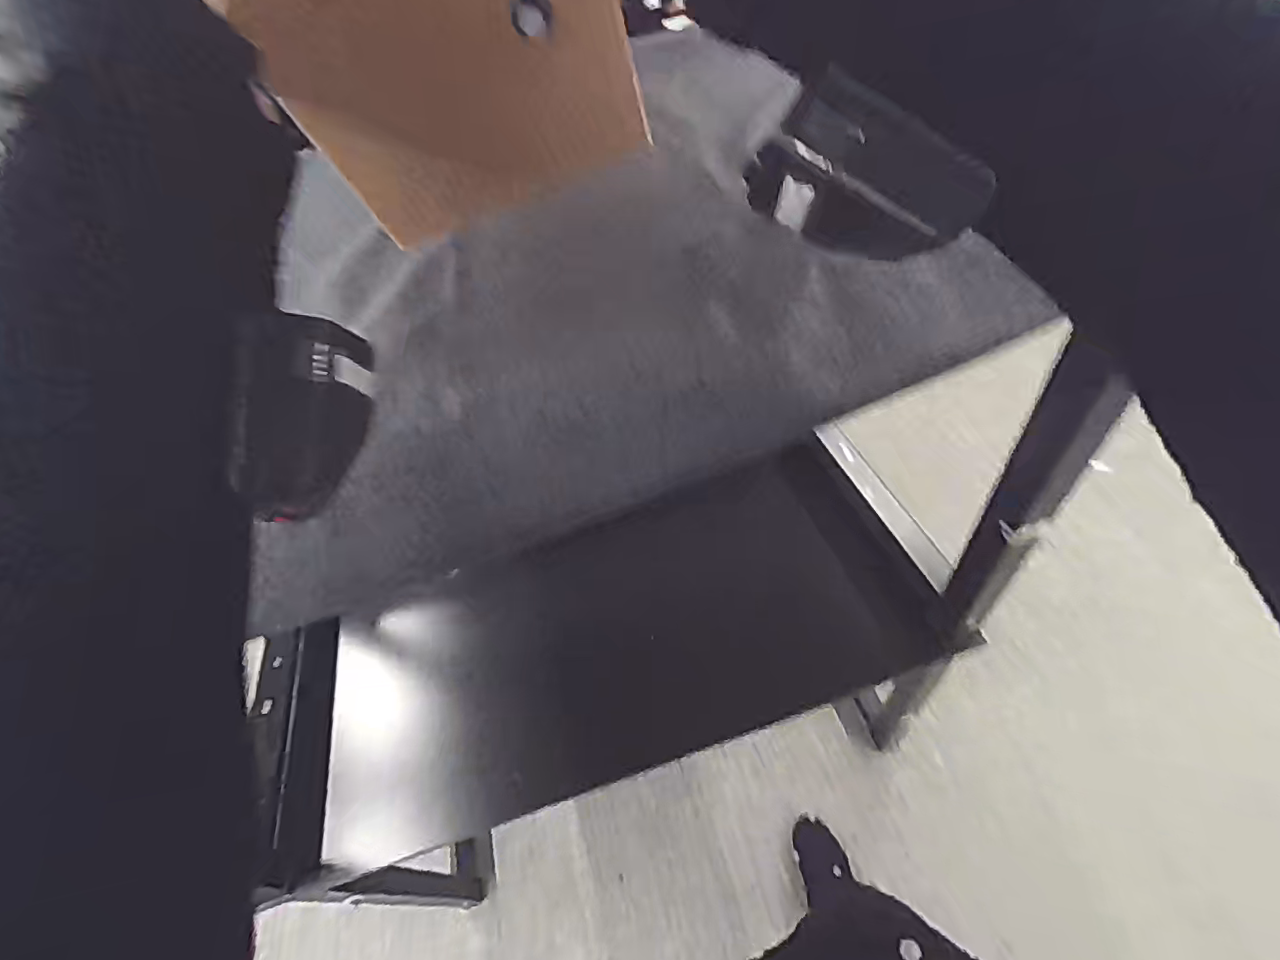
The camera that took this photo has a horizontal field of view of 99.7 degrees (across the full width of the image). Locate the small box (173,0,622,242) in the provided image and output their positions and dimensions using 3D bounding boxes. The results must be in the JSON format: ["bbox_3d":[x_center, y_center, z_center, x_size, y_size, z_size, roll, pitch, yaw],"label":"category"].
[{"bbox_3d":[-0.119,-0.273,0.296,0.179,0.176,0.168,-20,65,6],"label":"small box"}]
